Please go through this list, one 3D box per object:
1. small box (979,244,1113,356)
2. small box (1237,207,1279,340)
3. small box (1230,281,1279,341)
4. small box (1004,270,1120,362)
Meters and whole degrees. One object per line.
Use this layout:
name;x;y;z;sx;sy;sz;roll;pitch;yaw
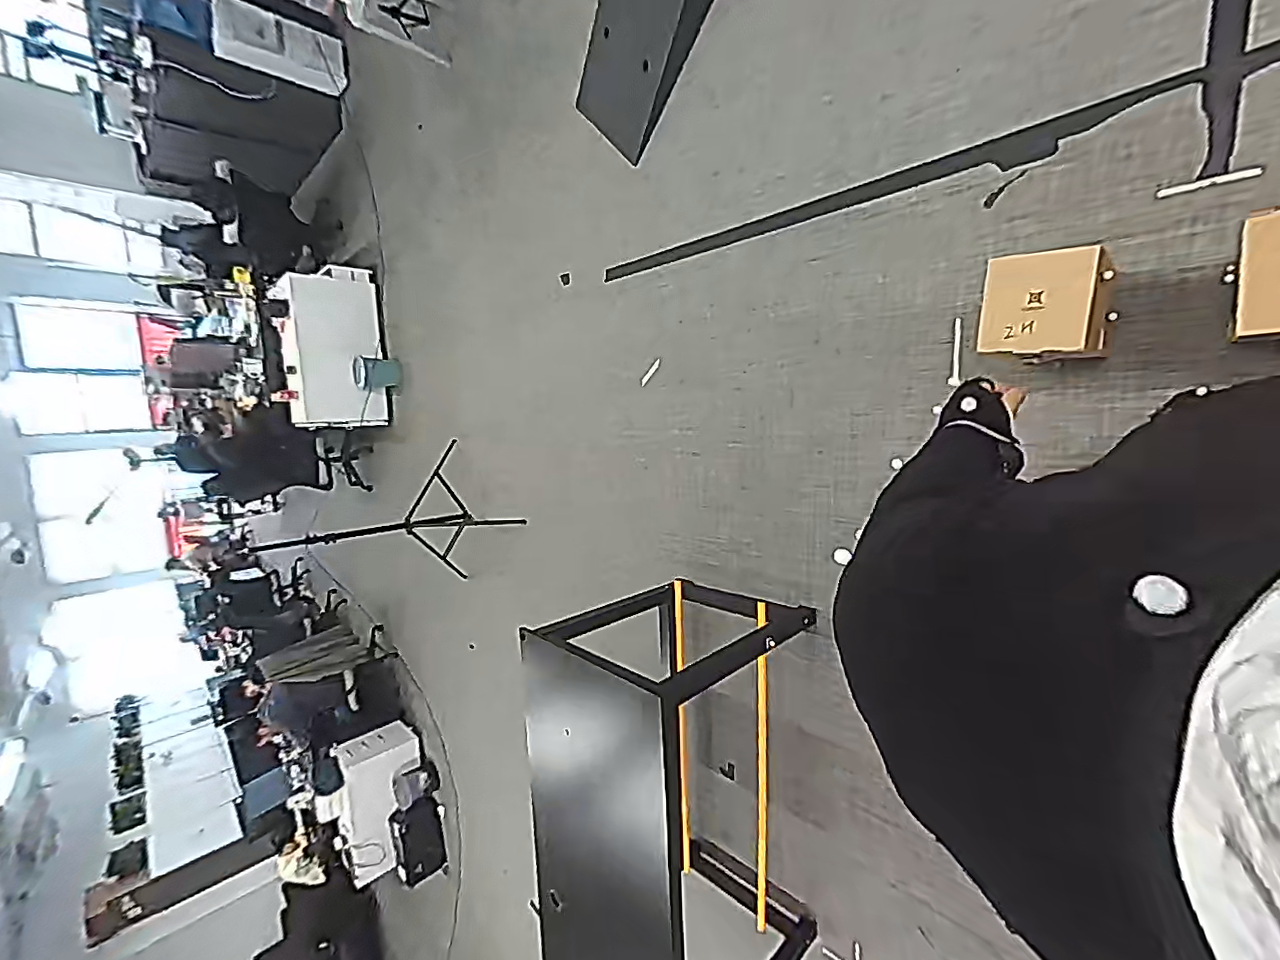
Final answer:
small box;0.767;-0.328;1.020;0.168;0.176;0.179;13;106;45
small box;0.998;-0.306;0.787;0.168;0.176;0.179;3;101;48
small box;1.119;-0.323;0.894;0.179;0.176;0.168;9;104;44
small box;0.886;-0.344;1.135;0.168;0.176;0.179;5;101;46
